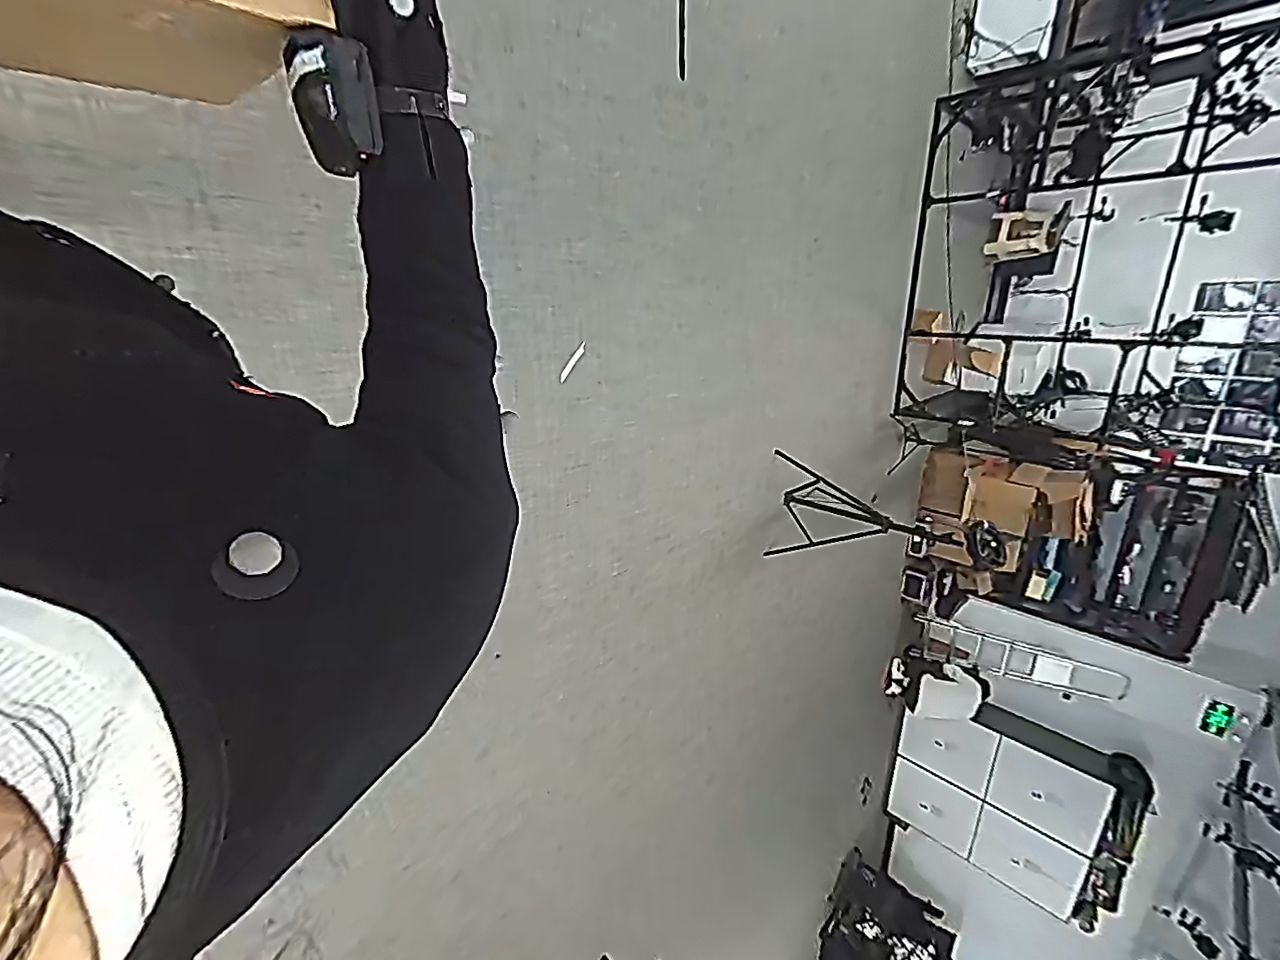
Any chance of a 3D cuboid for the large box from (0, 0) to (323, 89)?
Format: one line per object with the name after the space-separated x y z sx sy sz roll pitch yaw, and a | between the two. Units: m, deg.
-0.430 -0.407 0.228 0.408 0.320 0.320 -20 124 -41 | large box
